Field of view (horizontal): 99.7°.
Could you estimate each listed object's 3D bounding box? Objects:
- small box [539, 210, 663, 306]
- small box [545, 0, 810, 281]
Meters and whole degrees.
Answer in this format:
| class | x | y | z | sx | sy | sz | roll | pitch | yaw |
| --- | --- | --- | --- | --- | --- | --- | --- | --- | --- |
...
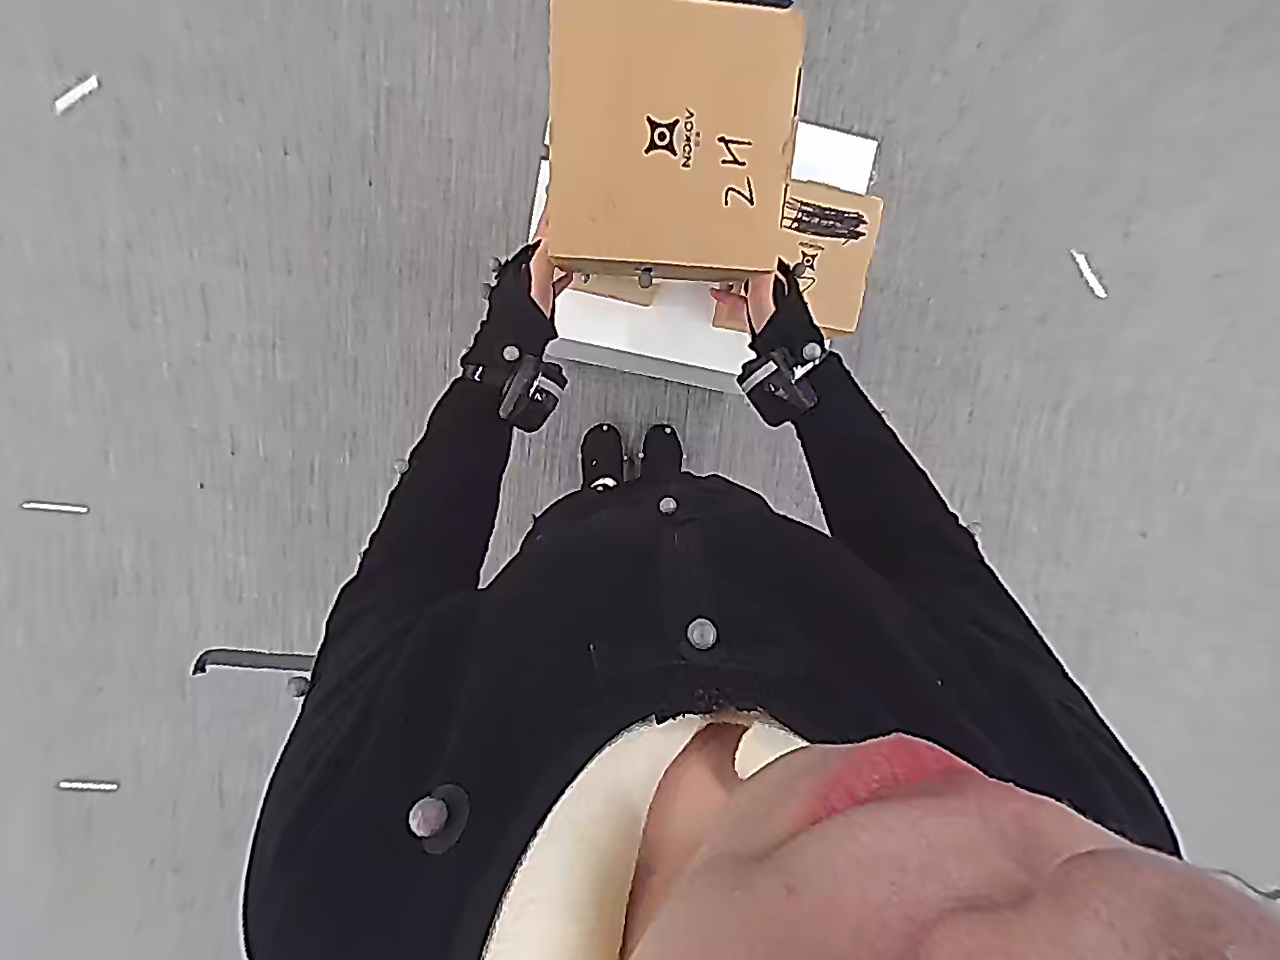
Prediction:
| class | x | y | z | sx | sy | sz | roll | pitch | yaw |
| --- | --- | --- | --- | --- | --- | --- | --- | --- | --- |
| small box | -0.038 | -0.363 | 0.758 | 0.168 | 0.176 | 0.179 | 12 | 97 | -5 |
| small box | 0.017 | -0.262 | 0.454 | 0.179 | 0.176 | 0.168 | 2 | 108 | -6 |
